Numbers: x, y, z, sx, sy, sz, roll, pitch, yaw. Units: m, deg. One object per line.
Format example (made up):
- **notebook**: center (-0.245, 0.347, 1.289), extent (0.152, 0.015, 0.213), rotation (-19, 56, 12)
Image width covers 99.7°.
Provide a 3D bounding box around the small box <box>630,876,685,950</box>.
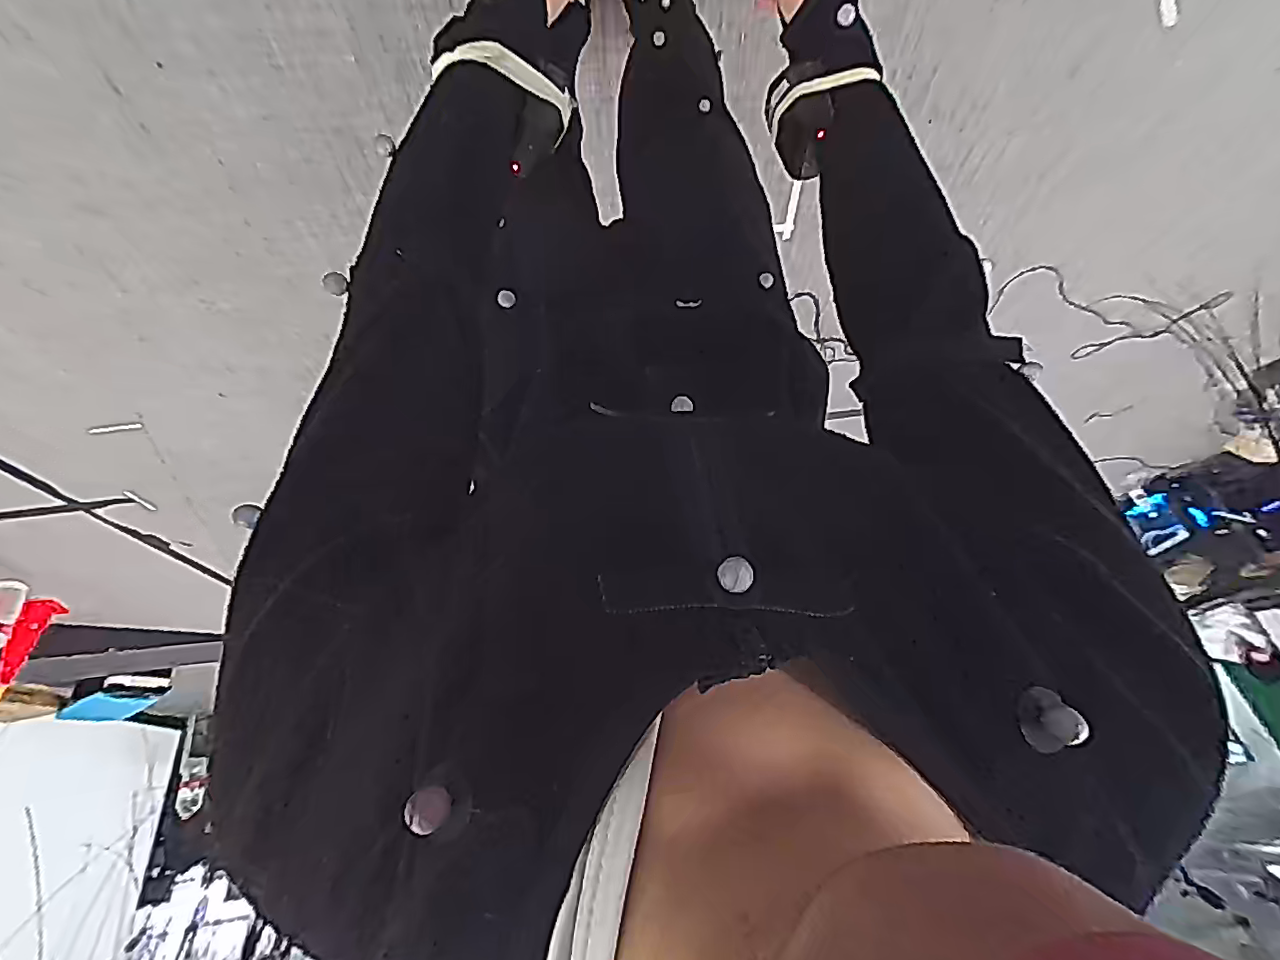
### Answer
- **small box**: center (0.059, 1.561, 1.960), extent (0.168, 0.176, 0.179), rotation (-7, 151, -7)
